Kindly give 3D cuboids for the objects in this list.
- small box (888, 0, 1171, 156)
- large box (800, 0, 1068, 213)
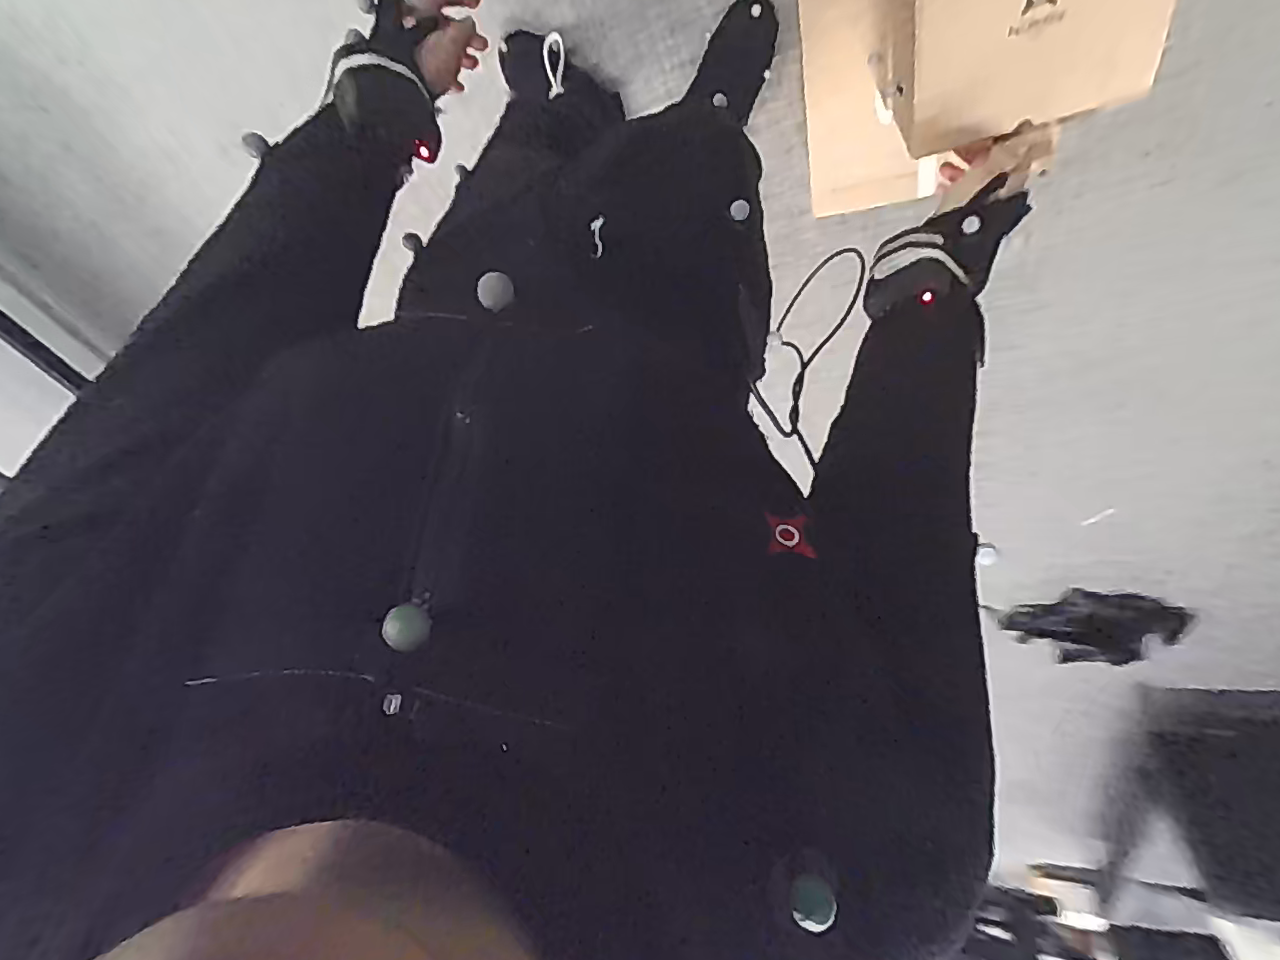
[{"bbox_3d":[0.301,-0.404,0.440,0.168,0.176,0.179,-5,133,22],"label":"small box"},{"bbox_3d":[0.390,-0.662,0.746,0.320,0.320,0.408,-2,136,21],"label":"large box"}]
